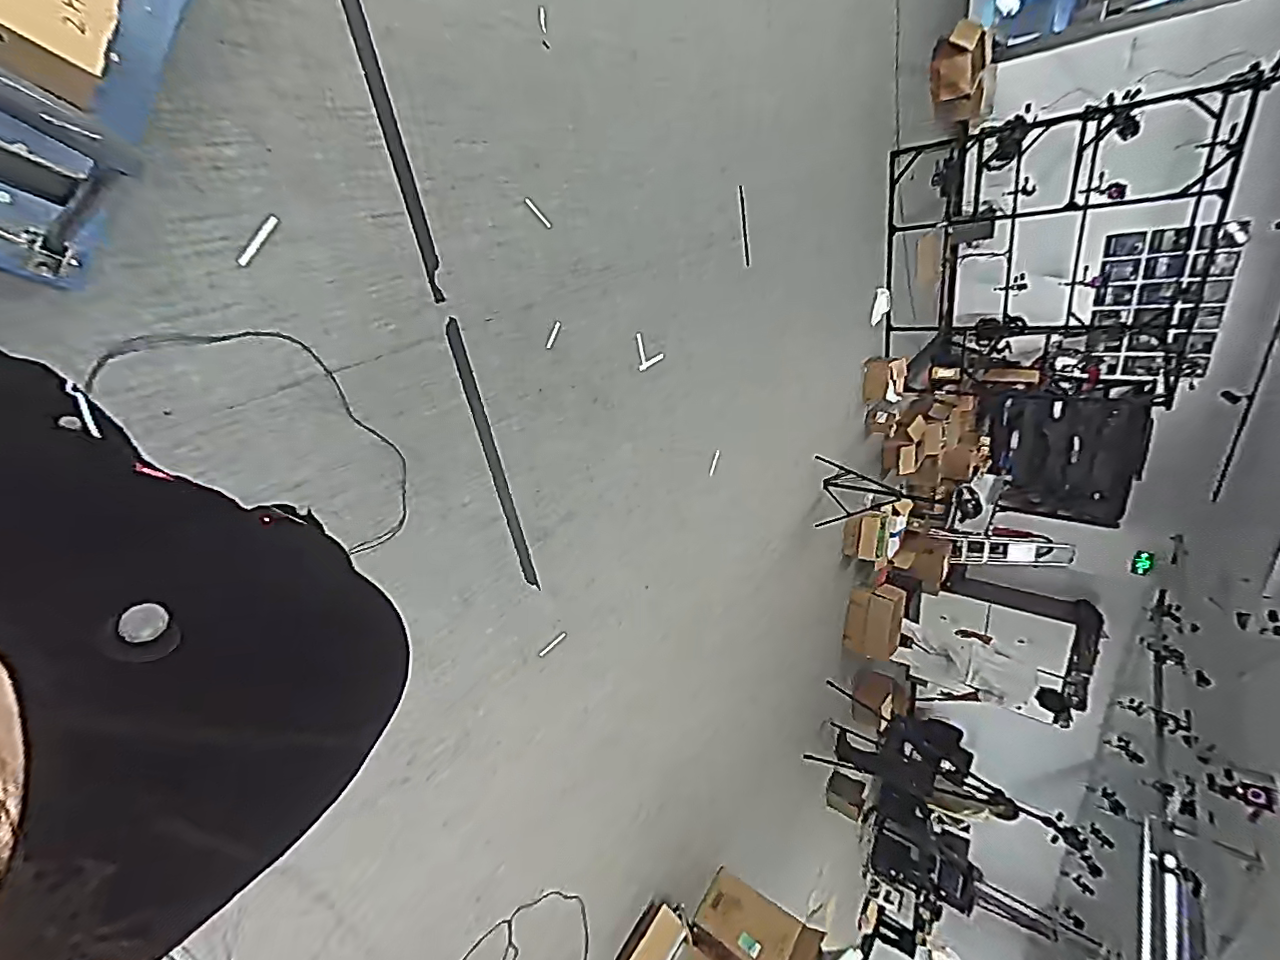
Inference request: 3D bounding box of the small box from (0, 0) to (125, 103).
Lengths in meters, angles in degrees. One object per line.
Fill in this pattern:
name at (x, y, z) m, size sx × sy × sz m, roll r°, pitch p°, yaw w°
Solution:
small box at (-0.870, -0.679, 0.763) m, size 0.179 × 0.176 × 0.168 m, roll 16°, pitch 87°, yaw -52°
